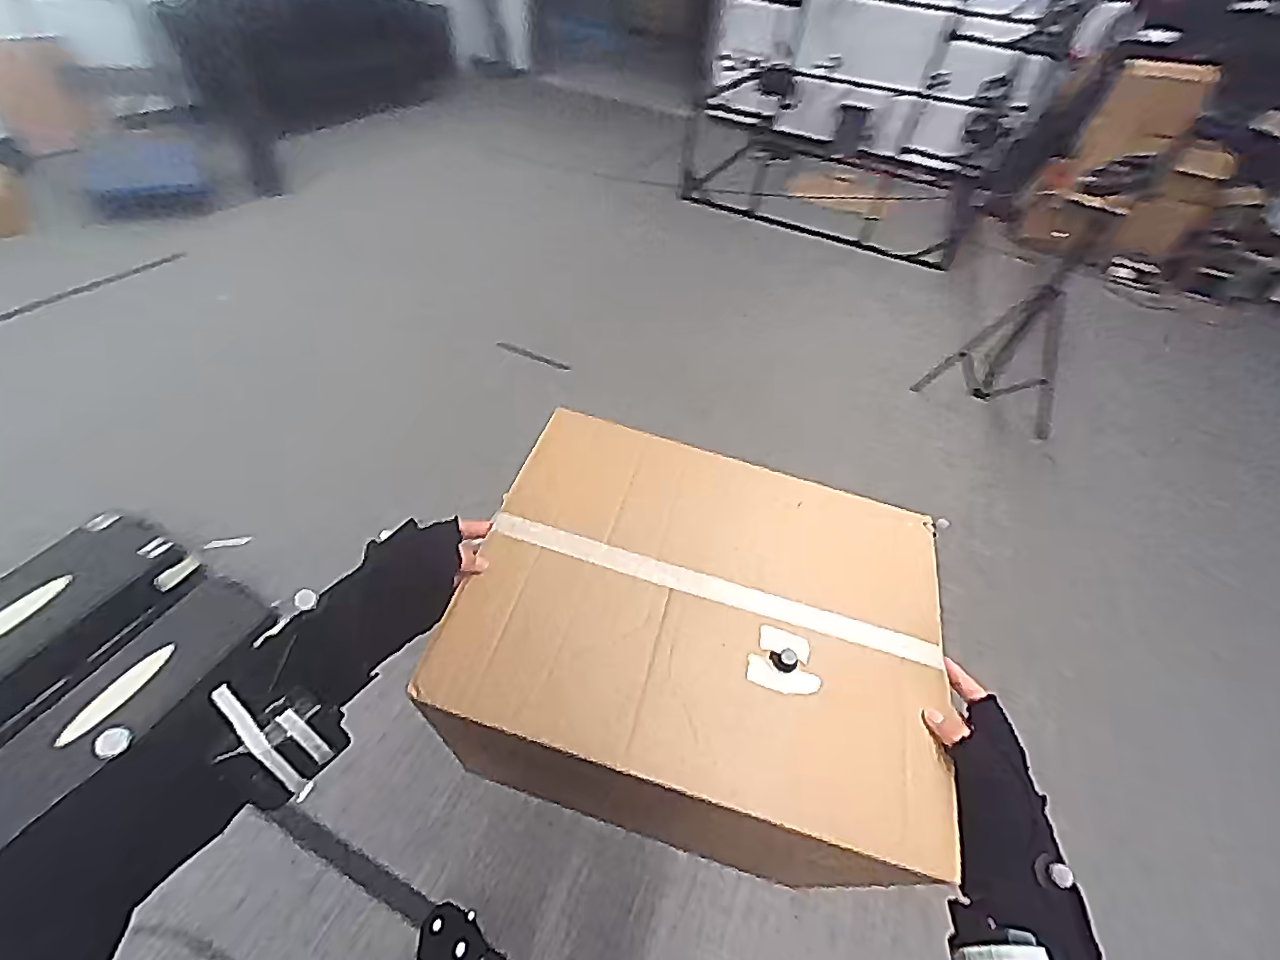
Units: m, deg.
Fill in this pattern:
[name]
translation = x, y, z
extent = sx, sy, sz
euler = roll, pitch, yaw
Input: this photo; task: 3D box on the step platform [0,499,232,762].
[step platform]
translation = -1.475, 0.355, 1.393
extent = 0.286, 0.204, 0.684
euler = 21, 46, 12
